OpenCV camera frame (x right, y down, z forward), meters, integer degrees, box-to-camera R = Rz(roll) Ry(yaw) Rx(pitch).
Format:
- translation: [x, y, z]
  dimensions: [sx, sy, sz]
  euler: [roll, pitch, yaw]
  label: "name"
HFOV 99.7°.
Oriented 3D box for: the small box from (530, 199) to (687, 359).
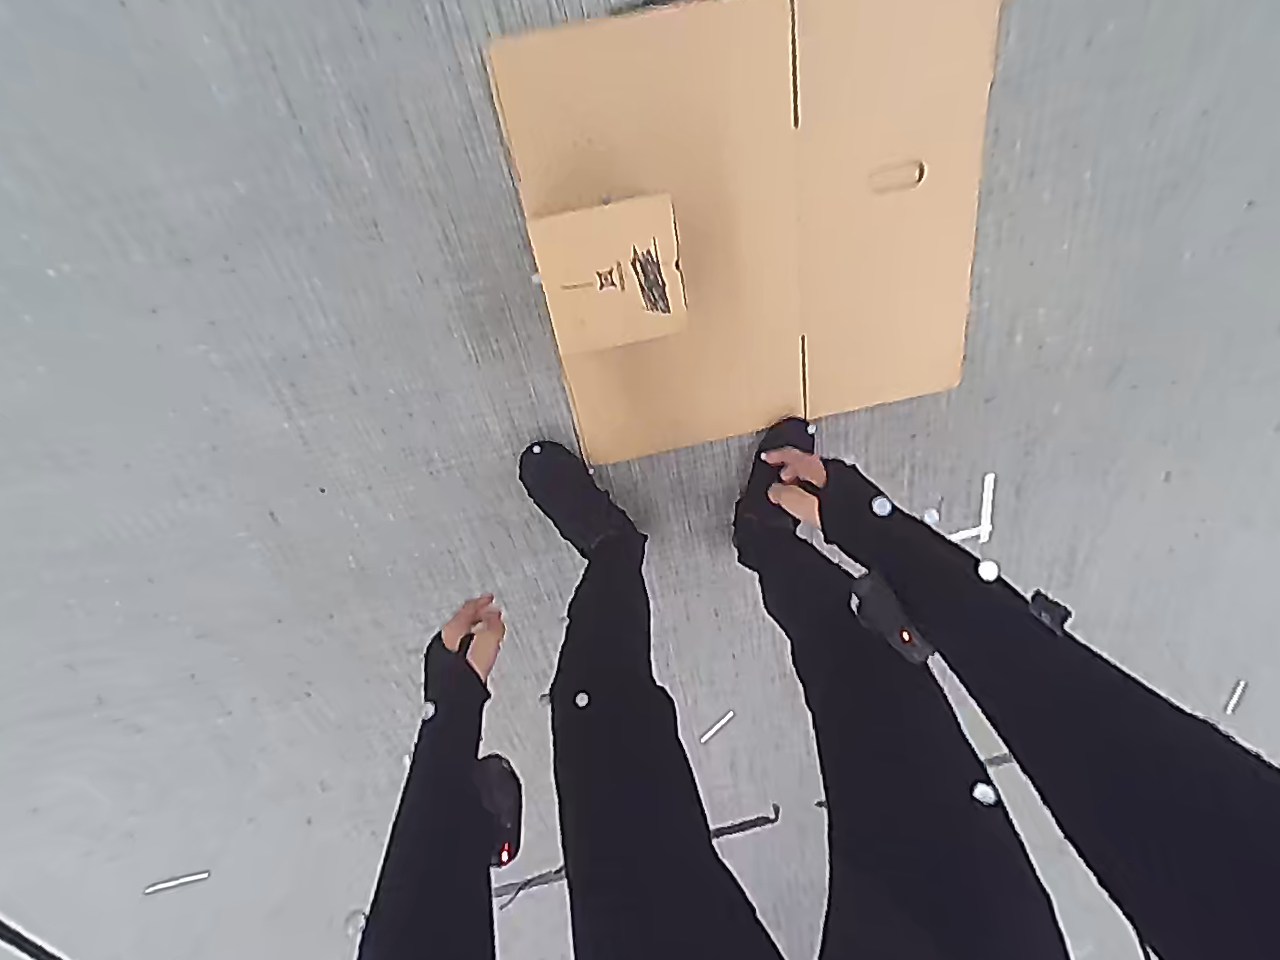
- translation: [-0.045, -0.283, 0.744]
  dimensions: [0.179, 0.176, 0.168]
  euler: [-12, 118, -2]
  label: "small box"
